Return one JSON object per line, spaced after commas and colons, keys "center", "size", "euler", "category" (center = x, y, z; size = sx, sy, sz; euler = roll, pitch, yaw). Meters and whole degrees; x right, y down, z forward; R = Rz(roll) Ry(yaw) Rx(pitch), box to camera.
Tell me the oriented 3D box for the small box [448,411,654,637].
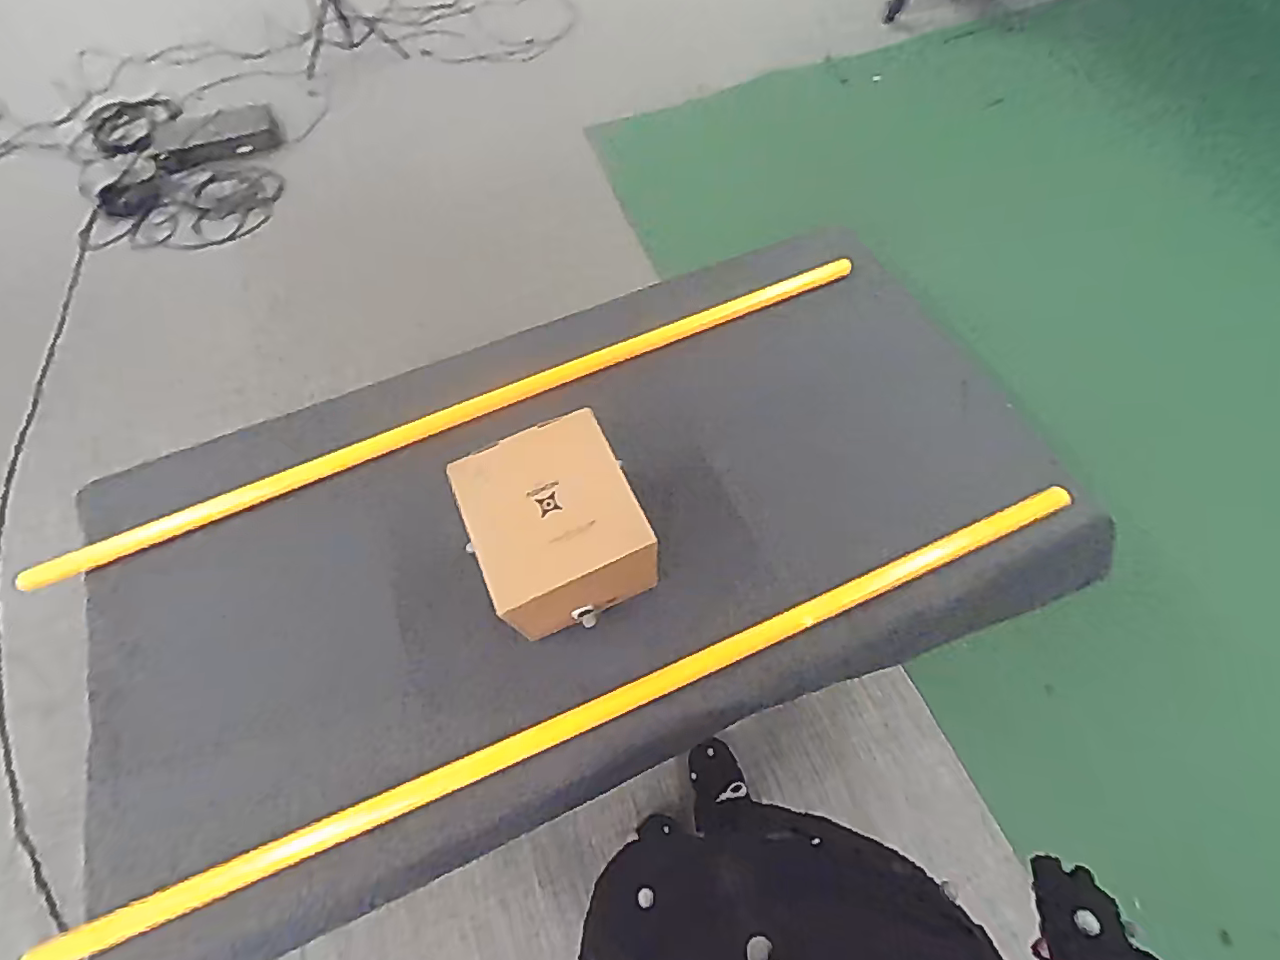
{"center": [-0.094, 0.058, 0.624], "size": [0.168, 0.176, 0.179], "euler": [-25, 67, -9], "category": "small box"}
